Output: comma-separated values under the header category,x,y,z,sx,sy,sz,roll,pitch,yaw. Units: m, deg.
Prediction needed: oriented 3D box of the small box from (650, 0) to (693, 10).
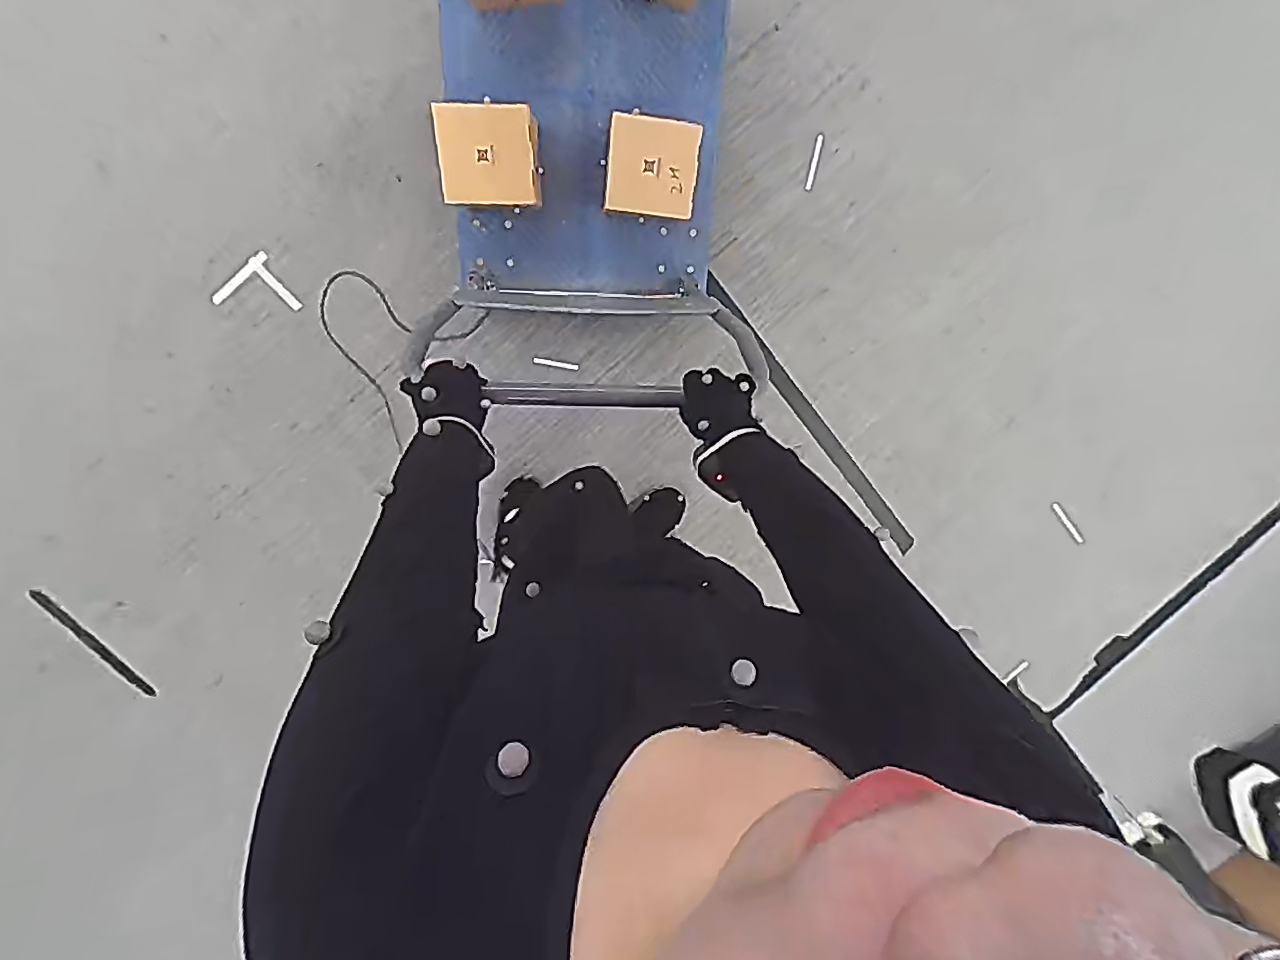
category,x,y,z,sx,sy,sz,roll,pitch,yaw
small box,0.044,-0.992,0.960,0.168,0.176,0.179,9,114,-10

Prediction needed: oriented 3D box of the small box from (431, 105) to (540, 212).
category,x,y,z,sx,sy,sz,roll,pitch,yaw
small box,-0.299,-0.635,1.084,0.179,0.176,0.168,-3,114,-6

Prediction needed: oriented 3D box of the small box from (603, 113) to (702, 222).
category,x,y,z,sx,sy,sz,roll,pitch,yaw
small box,0.017,-0.633,1.116,0.179,0.176,0.168,3,114,-7
